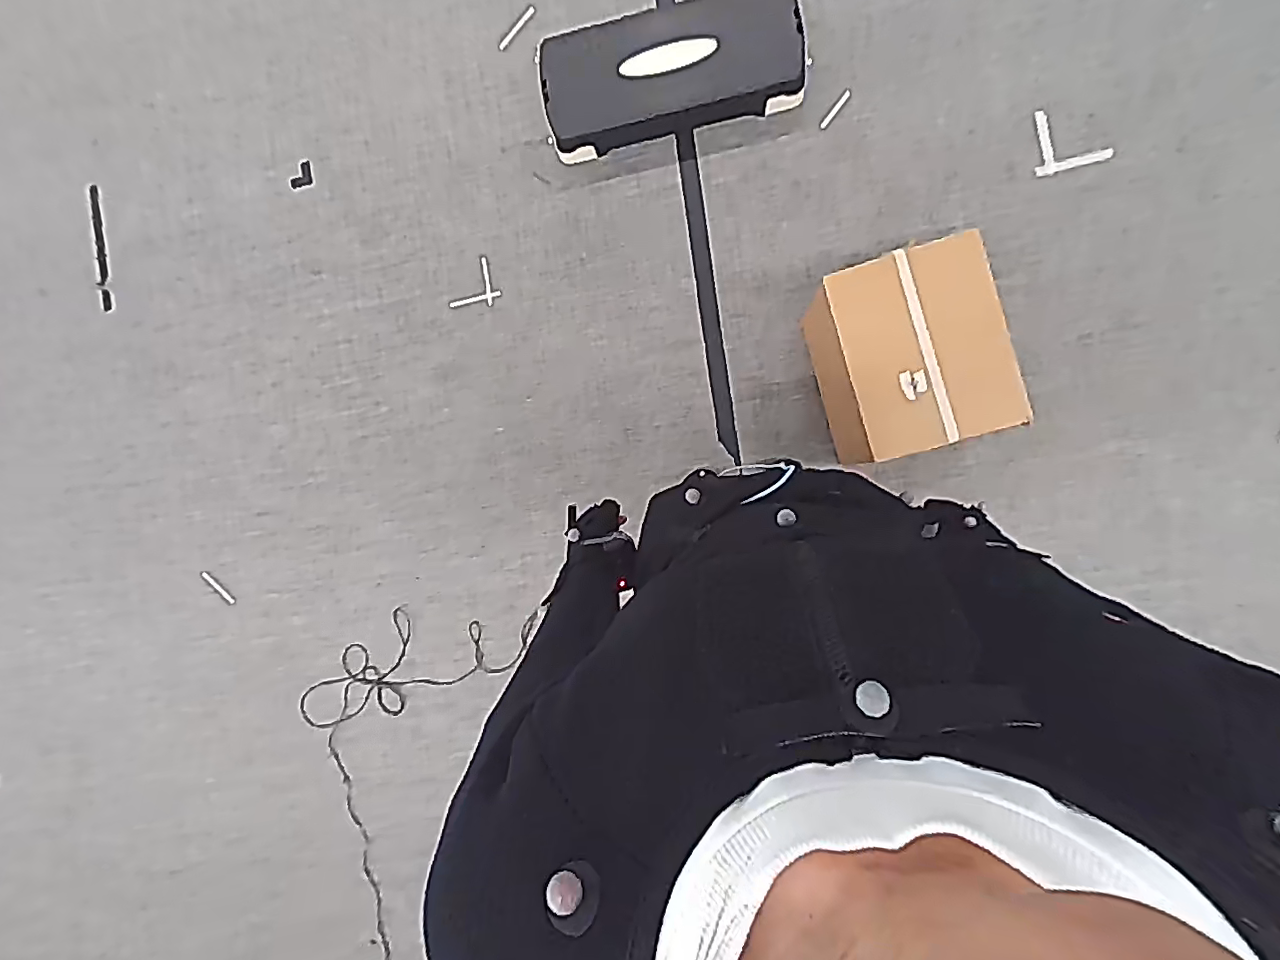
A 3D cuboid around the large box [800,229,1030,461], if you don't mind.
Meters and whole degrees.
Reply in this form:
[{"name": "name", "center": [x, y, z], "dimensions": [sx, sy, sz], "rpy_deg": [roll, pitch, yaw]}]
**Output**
[{"name": "large box", "center": [0.595, -0.277, 1.243], "dimensions": [0.320, 0.320, 0.408], "rpy_deg": [-16, 89, 9]}]
